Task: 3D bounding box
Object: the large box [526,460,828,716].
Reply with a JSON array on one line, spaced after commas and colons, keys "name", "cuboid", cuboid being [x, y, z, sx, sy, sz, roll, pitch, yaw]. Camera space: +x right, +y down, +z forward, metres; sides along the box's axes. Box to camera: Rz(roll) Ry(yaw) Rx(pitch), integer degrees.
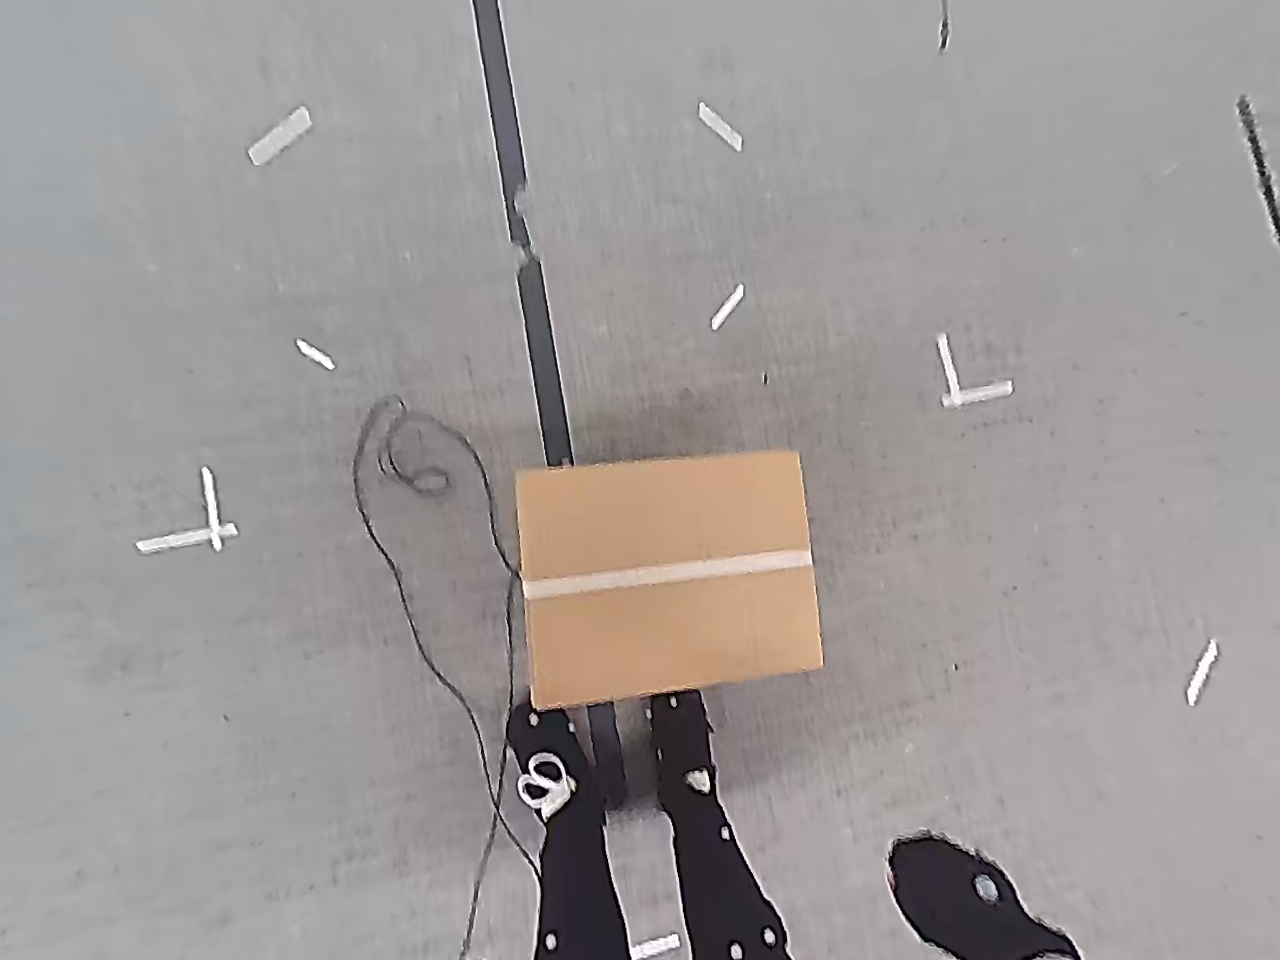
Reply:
[{"name": "large box", "cuboid": [0.034, 0.155, 0.893, 0.408, 0.320, 0.320, -5, 86, -9]}]
